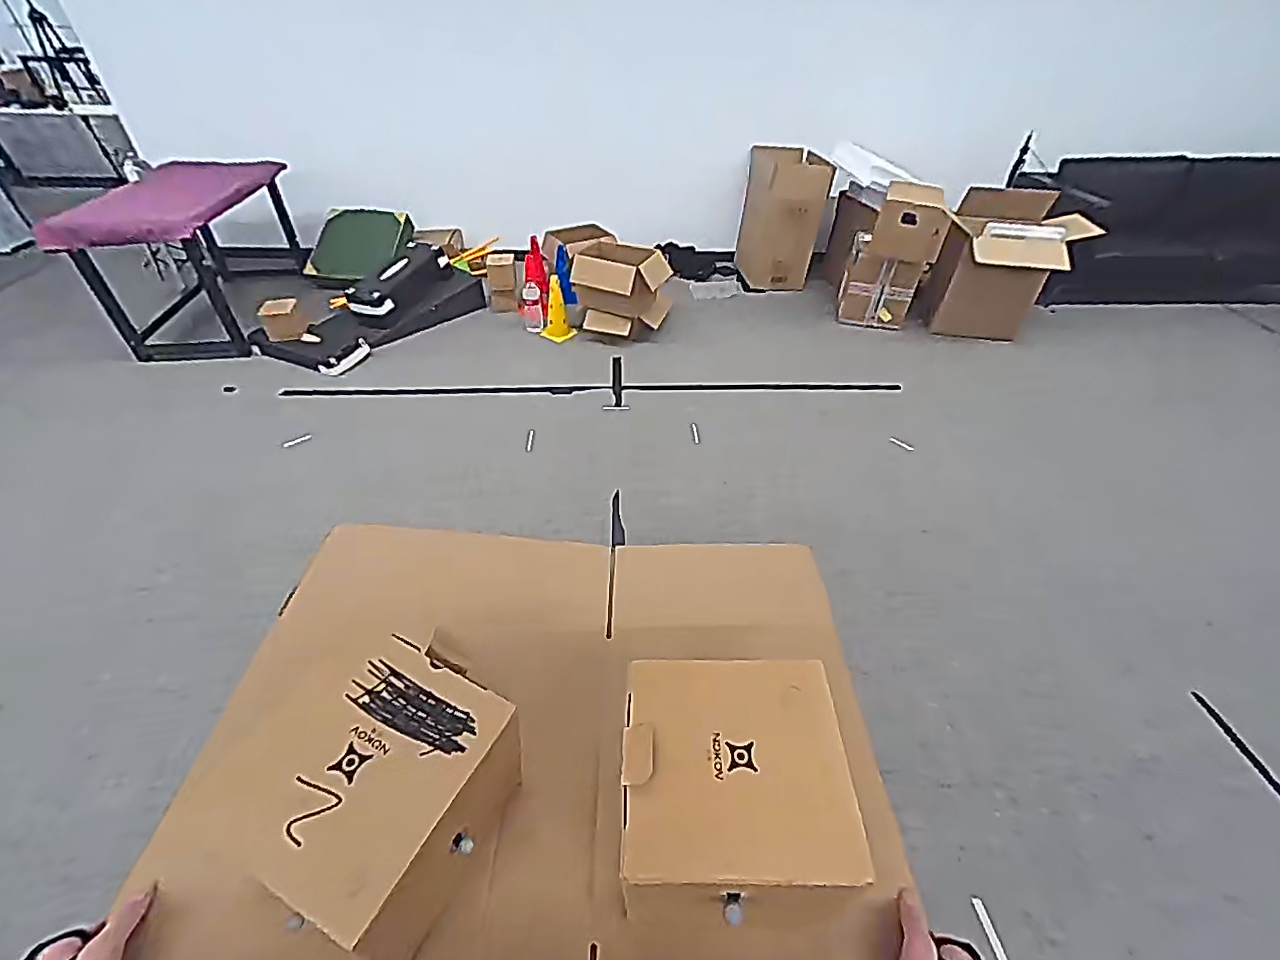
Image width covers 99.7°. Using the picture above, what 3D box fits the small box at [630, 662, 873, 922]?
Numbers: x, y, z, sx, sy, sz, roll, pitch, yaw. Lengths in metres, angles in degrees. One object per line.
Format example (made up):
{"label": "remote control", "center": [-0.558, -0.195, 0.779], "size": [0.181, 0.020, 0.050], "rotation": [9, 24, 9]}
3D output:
{"label": "small box", "center": [0.083, 0.285, 0.495], "size": [0.179, 0.176, 0.168], "rotation": [-1, 42, 2]}
